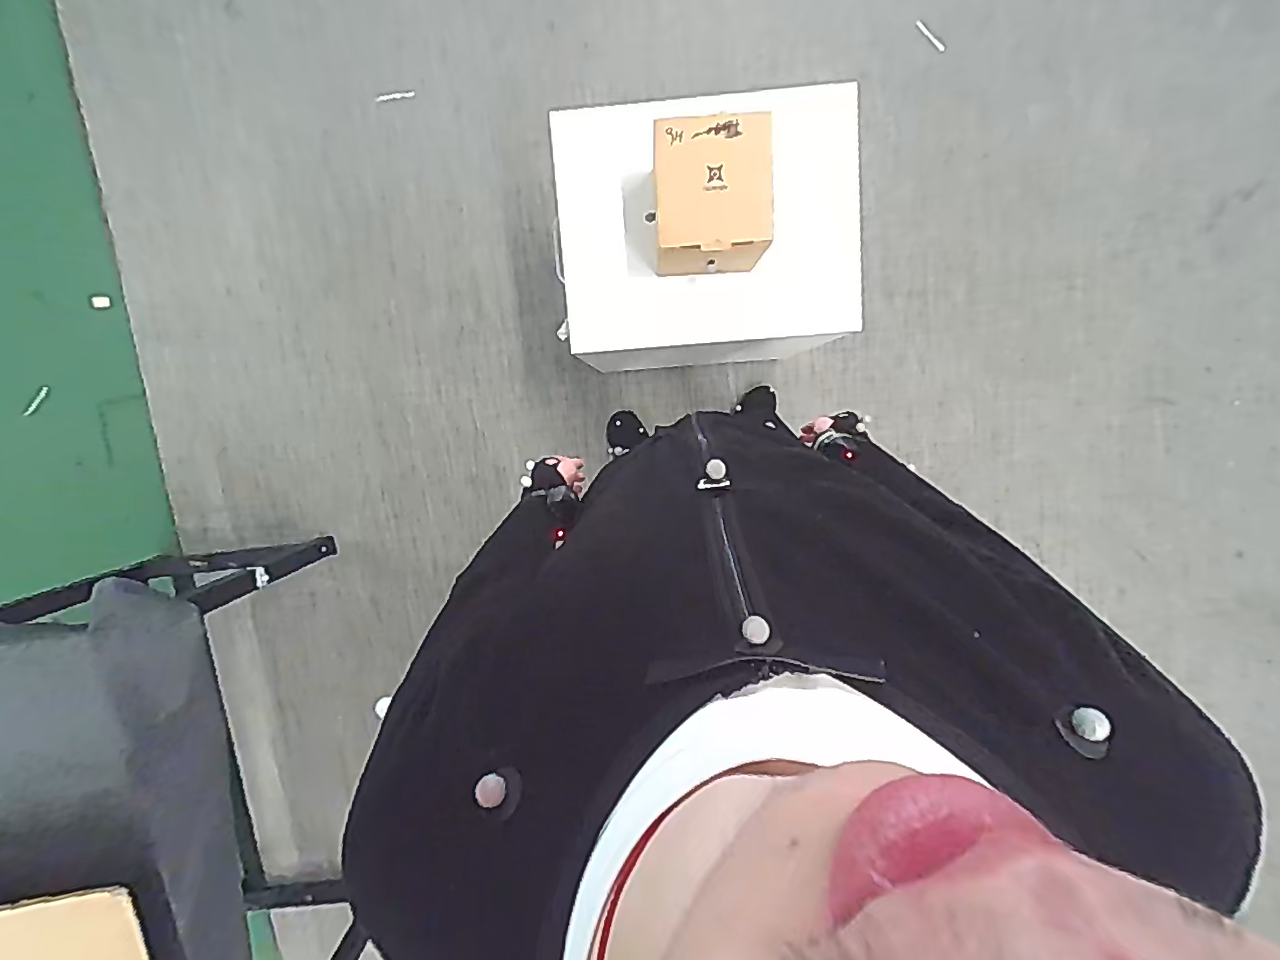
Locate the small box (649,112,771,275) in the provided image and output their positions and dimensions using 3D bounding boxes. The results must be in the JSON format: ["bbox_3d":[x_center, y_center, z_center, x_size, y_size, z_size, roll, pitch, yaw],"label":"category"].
[{"bbox_3d":[0.104,-0.426,0.838,0.168,0.176,0.179,-4,97,2],"label":"small box"}]
